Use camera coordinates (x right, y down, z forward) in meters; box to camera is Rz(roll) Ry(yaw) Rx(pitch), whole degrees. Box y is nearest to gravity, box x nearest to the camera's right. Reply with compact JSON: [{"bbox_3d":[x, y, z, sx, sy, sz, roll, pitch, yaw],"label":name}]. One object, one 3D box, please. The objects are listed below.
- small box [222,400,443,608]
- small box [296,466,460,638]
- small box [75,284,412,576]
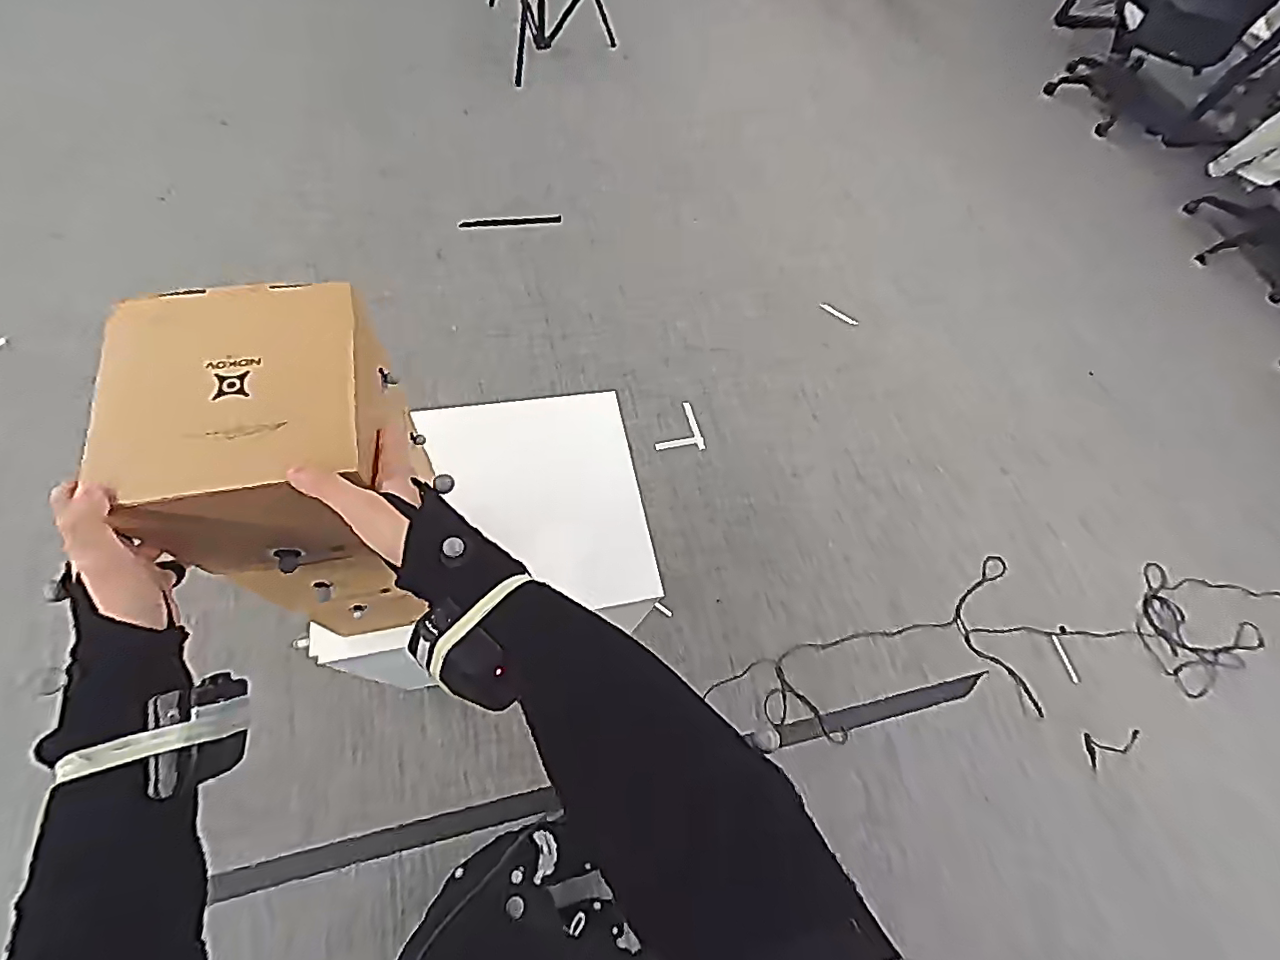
[{"bbox_3d":[-0.323,0.035,0.599,0.168,0.176,0.179,-9,67,-14],"label":"small box"},{"bbox_3d":[-0.349,0.102,0.745,0.168,0.176,0.179,-8,66,-14],"label":"small box"},{"bbox_3d":[-0.299,-0.035,0.453,0.168,0.176,0.179,-9,68,-13],"label":"small box"}]
